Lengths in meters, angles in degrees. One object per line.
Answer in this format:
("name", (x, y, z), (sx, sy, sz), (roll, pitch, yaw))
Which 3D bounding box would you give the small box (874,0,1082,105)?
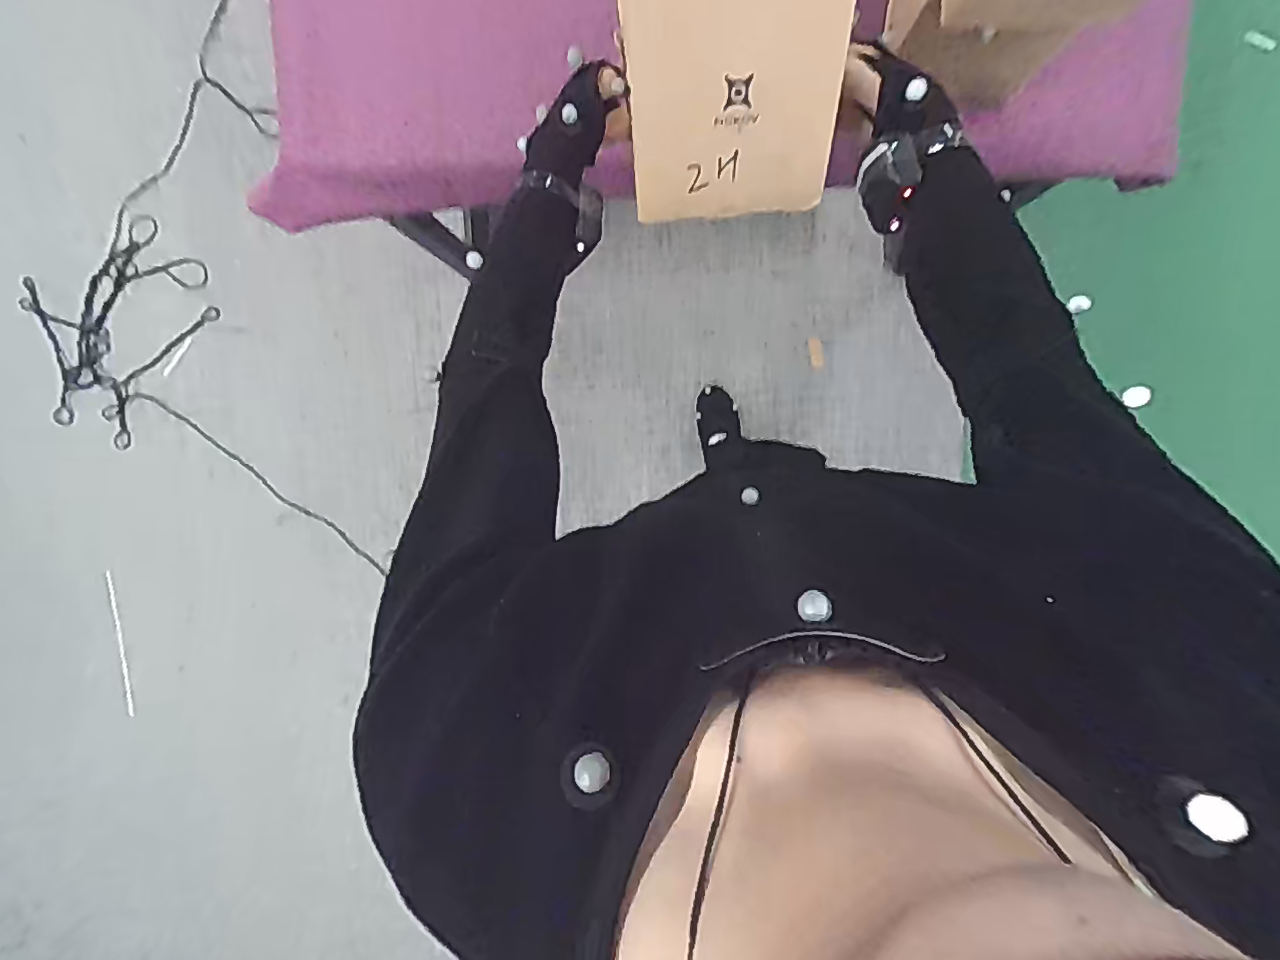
("small box", (0.398, -0.570, 0.623), (0.179, 0.176, 0.168), (9, 95, 5))

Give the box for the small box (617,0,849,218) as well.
("small box", (0.067, -0.359, 0.481), (0.168, 0.176, 0.179), (-4, 137, 0))
